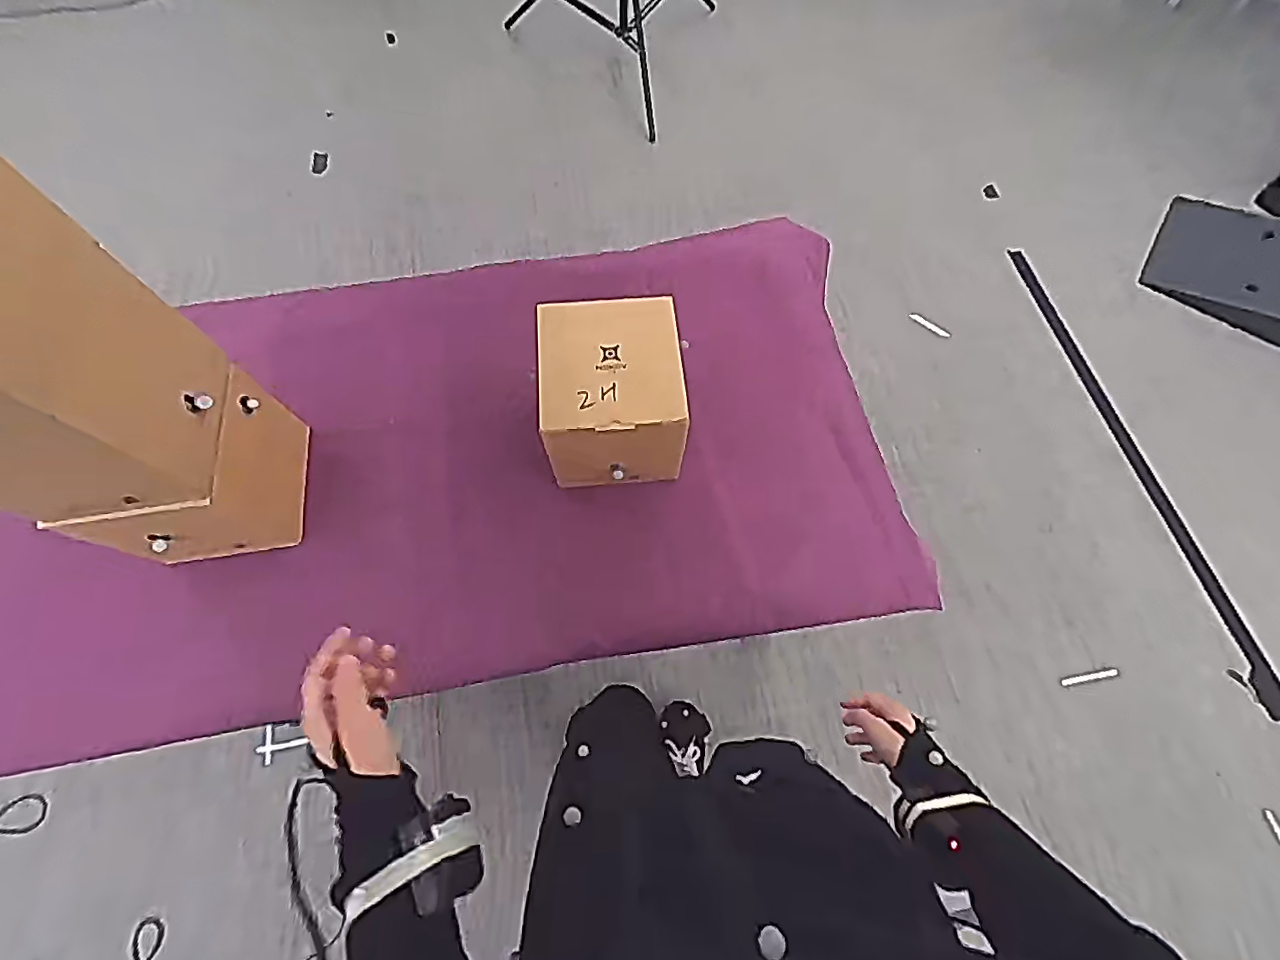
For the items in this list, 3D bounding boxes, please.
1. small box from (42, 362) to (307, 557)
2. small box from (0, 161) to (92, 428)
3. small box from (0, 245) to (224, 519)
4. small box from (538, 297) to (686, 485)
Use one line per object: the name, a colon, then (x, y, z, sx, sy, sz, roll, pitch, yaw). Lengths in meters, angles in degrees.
small box: (-0.529, -0.014, 0.648, 0.168, 0.176, 0.179, -8, 68, -5)
small box: (-0.519, -0.143, 0.345, 0.168, 0.176, 0.179, -8, 69, -5)
small box: (-0.527, -0.081, 0.498, 0.168, 0.176, 0.179, -9, 67, -5)
small box: (-0.037, -0.108, 0.696, 0.168, 0.176, 0.179, -4, 68, -2)
